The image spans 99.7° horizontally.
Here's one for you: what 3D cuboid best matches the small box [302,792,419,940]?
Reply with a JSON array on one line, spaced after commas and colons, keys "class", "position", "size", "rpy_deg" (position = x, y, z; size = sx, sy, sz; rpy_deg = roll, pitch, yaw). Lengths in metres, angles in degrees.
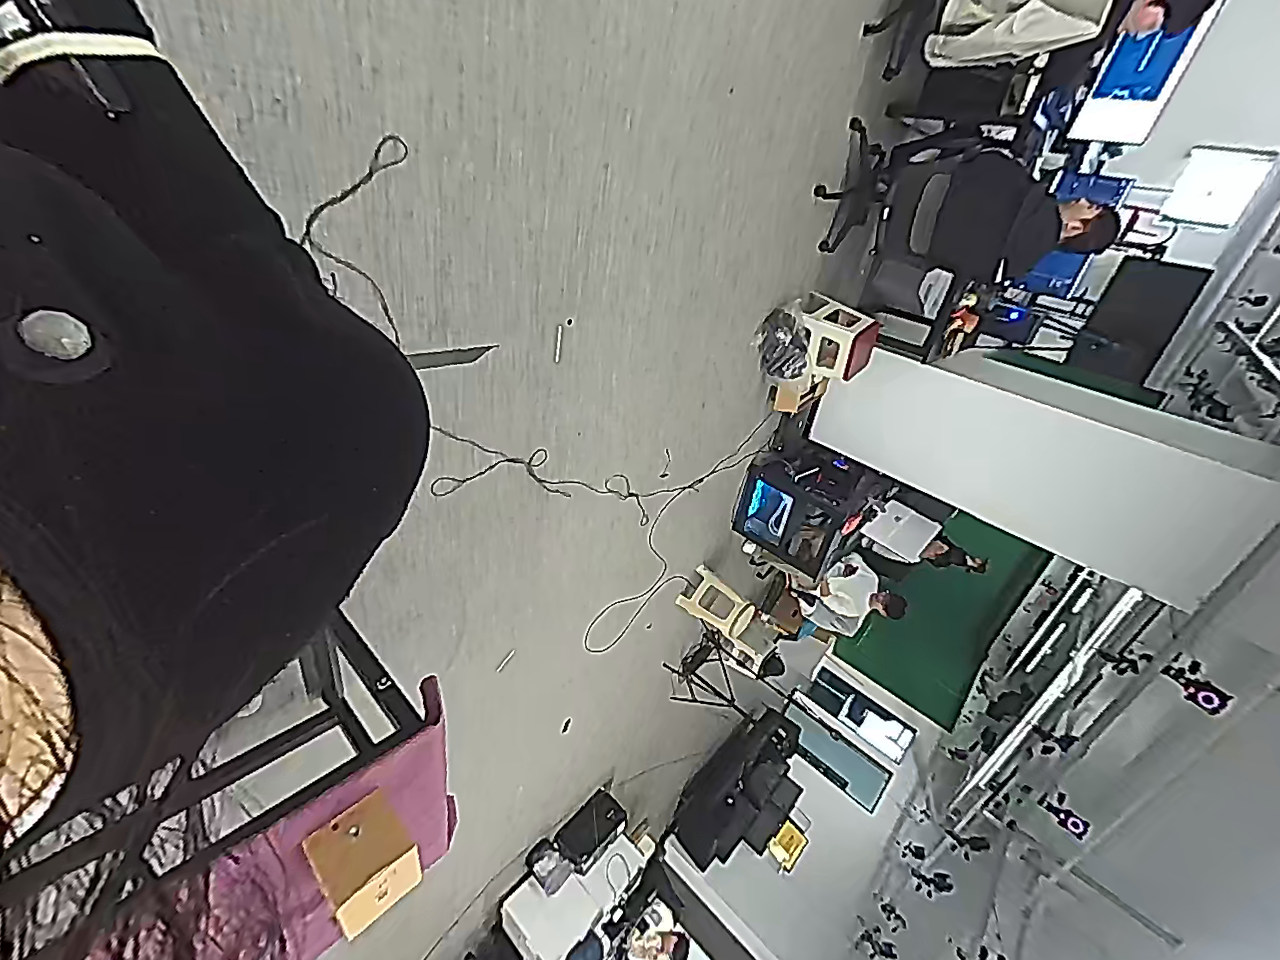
[{"class": "small box", "position": [-0.606, 0.831, 1.180], "size": [0.168, 0.176, 0.179], "rpy_deg": [-26, 136, -43]}]
